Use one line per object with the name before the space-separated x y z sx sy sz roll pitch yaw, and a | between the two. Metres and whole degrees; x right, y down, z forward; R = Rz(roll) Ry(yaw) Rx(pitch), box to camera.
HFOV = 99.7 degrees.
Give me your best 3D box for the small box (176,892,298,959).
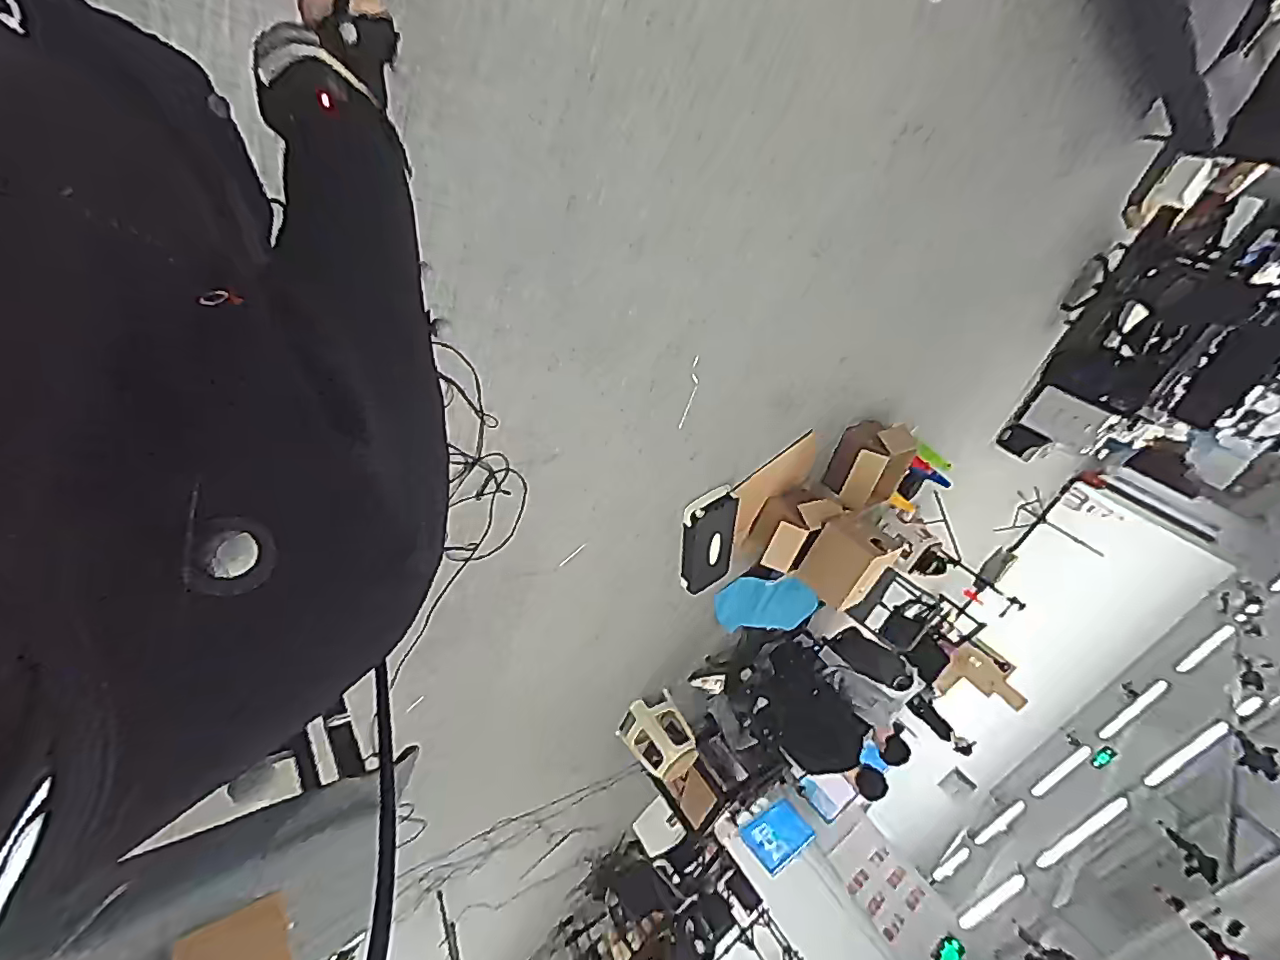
small box | -0.774 0.955 1.040 0.179 0.176 0.168 -7 130 -42
